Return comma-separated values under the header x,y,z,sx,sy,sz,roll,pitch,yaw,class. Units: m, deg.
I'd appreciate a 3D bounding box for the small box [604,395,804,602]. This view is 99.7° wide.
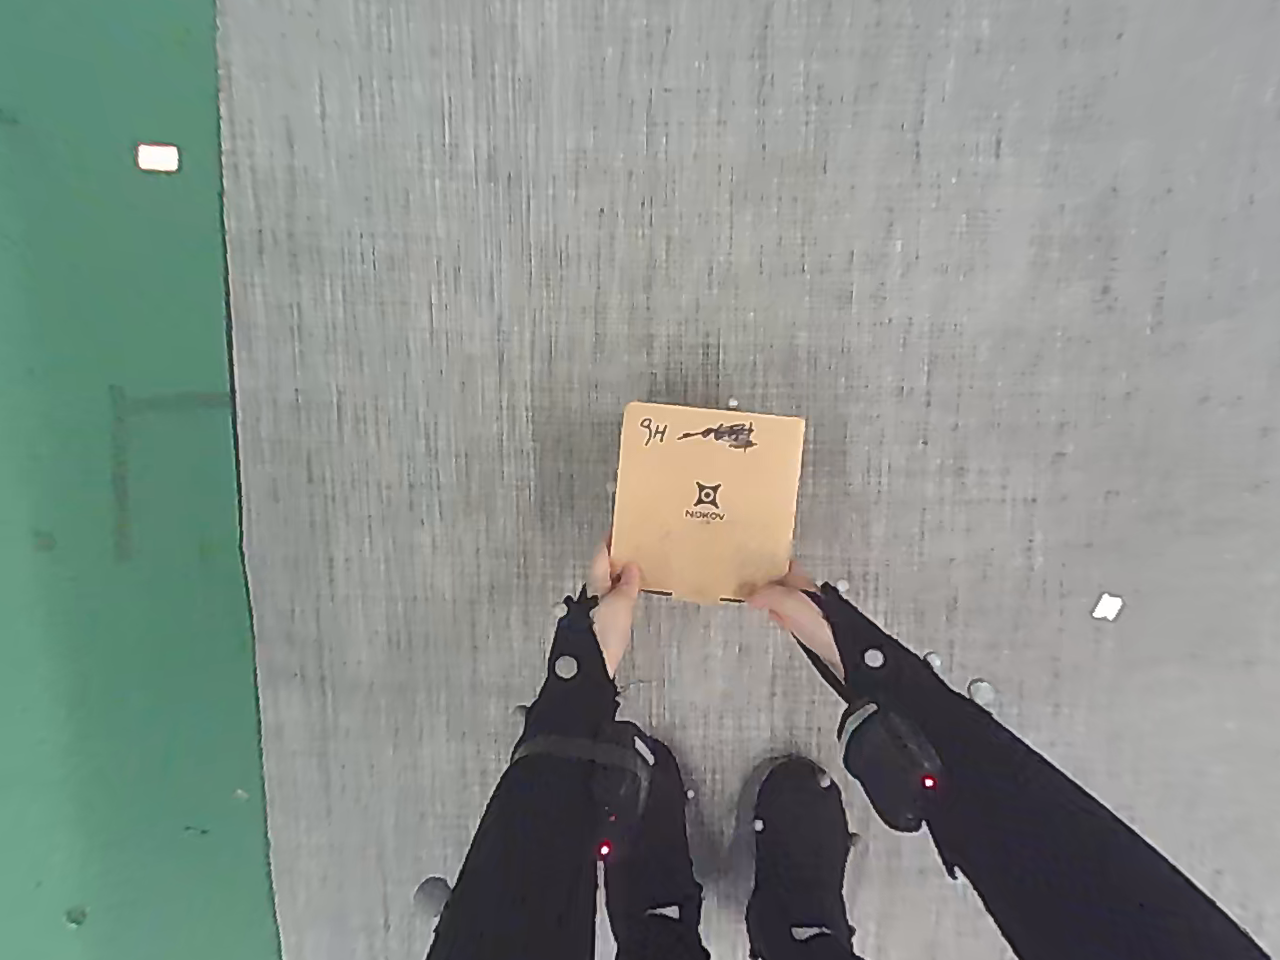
x,y,z,sx,sy,sz,roll,pitch,yaw,class
0.059,0.011,0.567,0.168,0.176,0.179,6,95,1,small box
